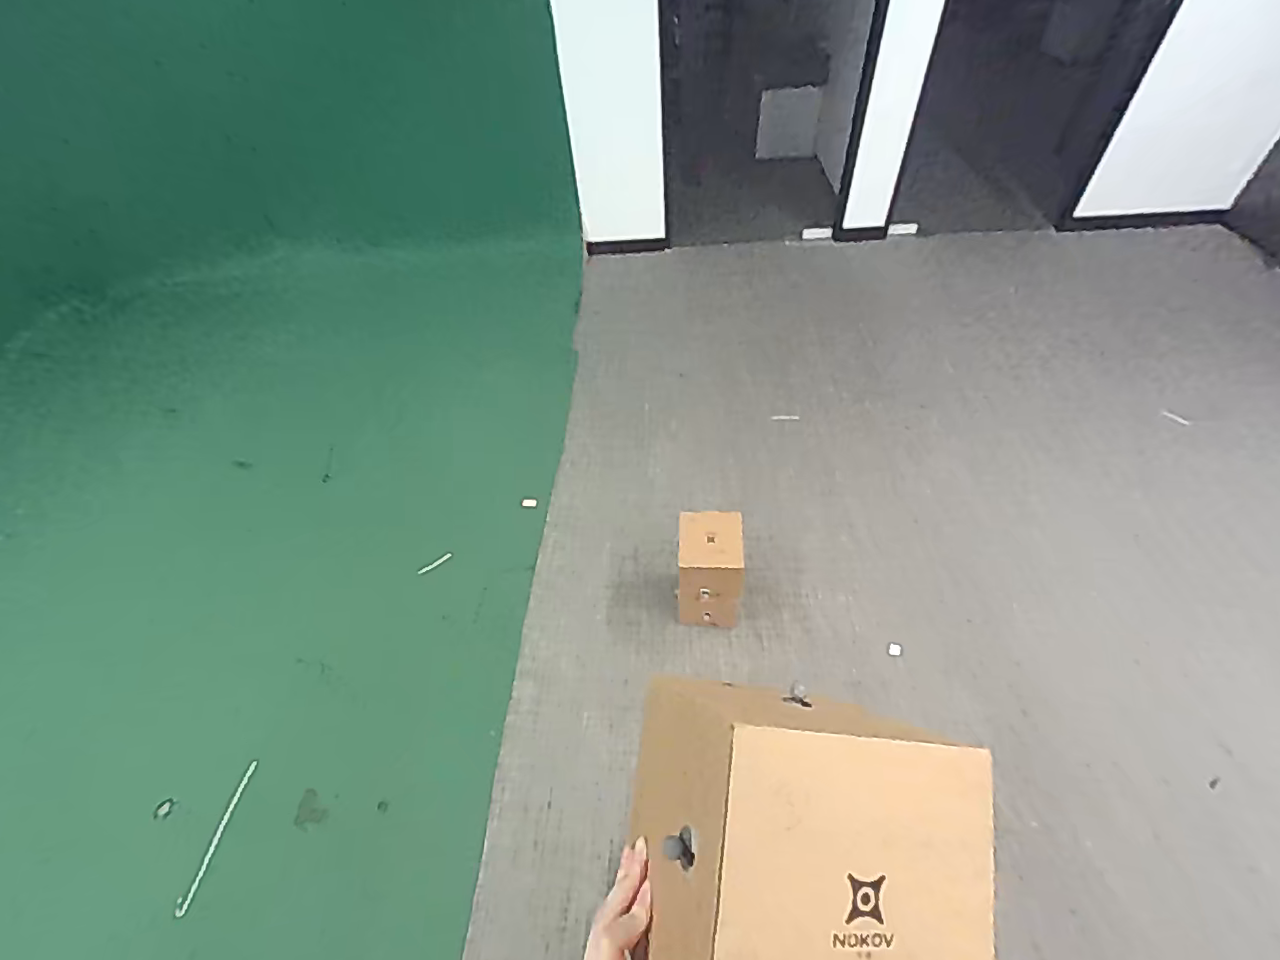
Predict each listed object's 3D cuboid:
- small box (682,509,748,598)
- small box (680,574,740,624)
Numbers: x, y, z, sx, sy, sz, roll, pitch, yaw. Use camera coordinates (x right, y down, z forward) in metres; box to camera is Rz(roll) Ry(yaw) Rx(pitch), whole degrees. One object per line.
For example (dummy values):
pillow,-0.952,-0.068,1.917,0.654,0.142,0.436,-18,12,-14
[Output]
small box,0.196,0.196,1.442,0.168,0.176,0.179,-1,50,7
small box,0.206,0.302,1.566,0.168,0.176,0.179,3,50,8
